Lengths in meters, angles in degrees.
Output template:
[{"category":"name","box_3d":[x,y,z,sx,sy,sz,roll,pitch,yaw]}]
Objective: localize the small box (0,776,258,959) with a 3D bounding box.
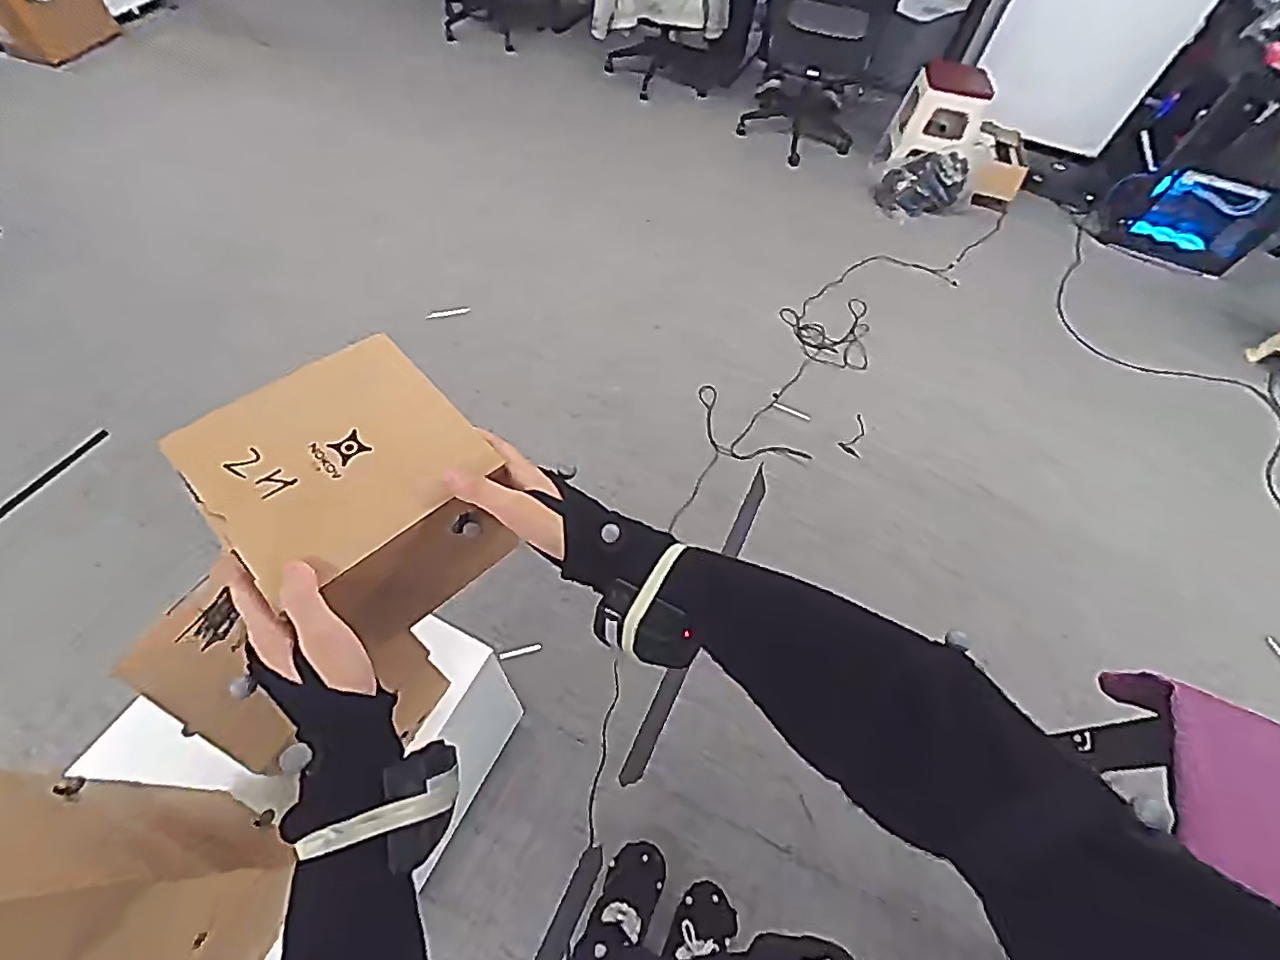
[{"category":"small box","box_3d":[-0.476,0.371,0.447,0.179,0.176,0.168,24,59,10]}]

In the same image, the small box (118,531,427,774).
[{"category":"small box","box_3d":[-0.360,0.189,0.571,0.179,0.176,0.168,27,60,10]}]

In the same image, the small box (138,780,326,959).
[{"category":"small box","box_3d":[-0.492,0.458,0.585,0.179,0.176,0.168,25,58,11]}]
